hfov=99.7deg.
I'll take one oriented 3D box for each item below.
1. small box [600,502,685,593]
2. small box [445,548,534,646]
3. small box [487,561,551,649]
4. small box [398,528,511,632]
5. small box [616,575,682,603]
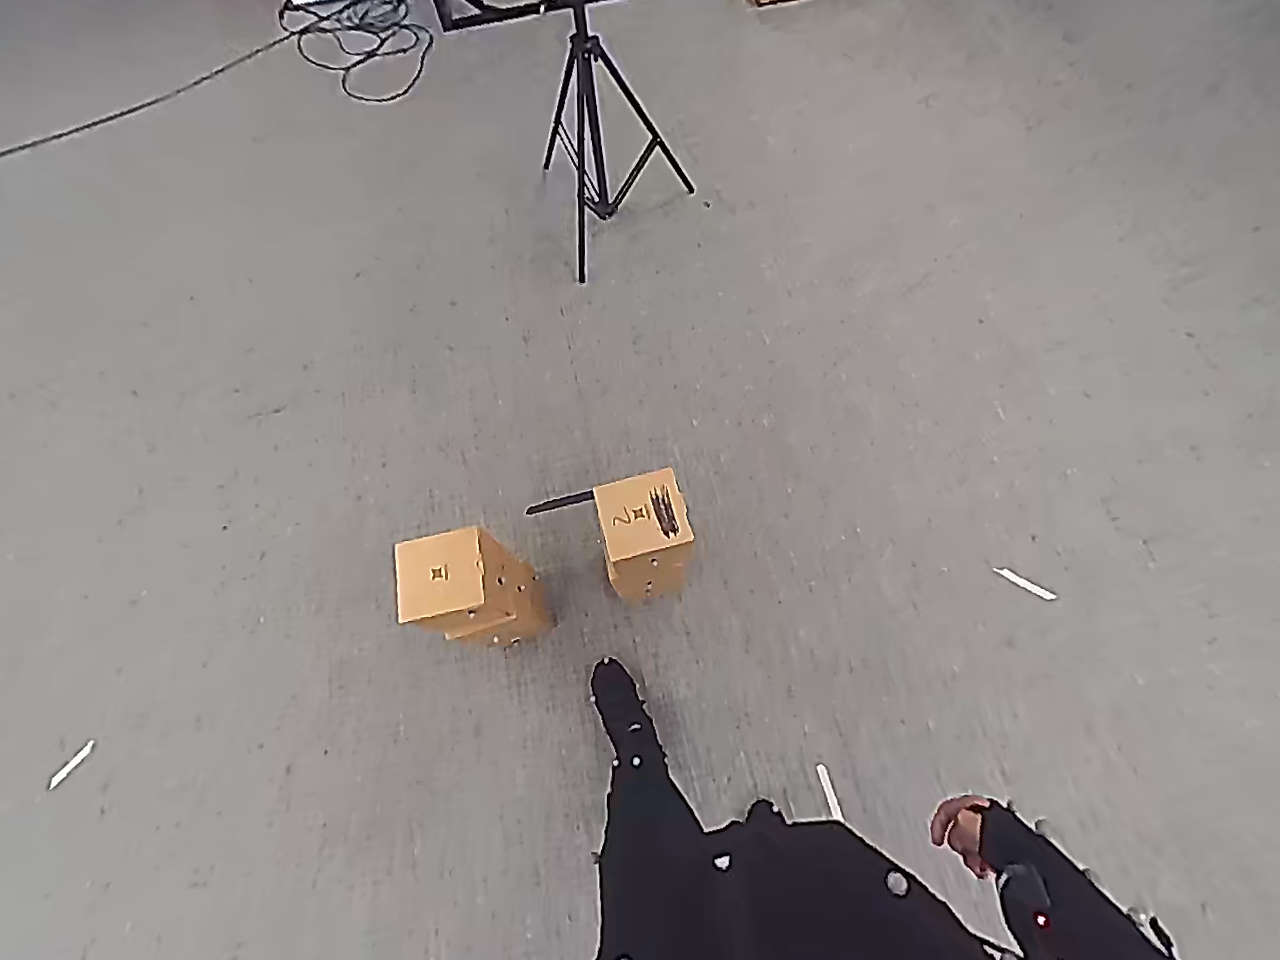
[{"bbox_3d":[0.004,0.169,1.322,0.179,0.176,0.168,-11,68,-2],"label":"small box"},{"bbox_3d":[-0.368,0.286,1.298,0.168,0.176,0.179,-17,69,-2],"label":"small box"},{"bbox_3d":[-0.352,0.340,1.453,0.168,0.176,0.179,-19,69,-4],"label":"small box"},{"bbox_3d":[-0.391,0.219,1.152,0.179,0.176,0.168,-13,68,-1],"label":"small box"},{"bbox_3d":[0.013,0.231,1.474,0.179,0.176,0.168,-12,69,-2],"label":"small box"}]
